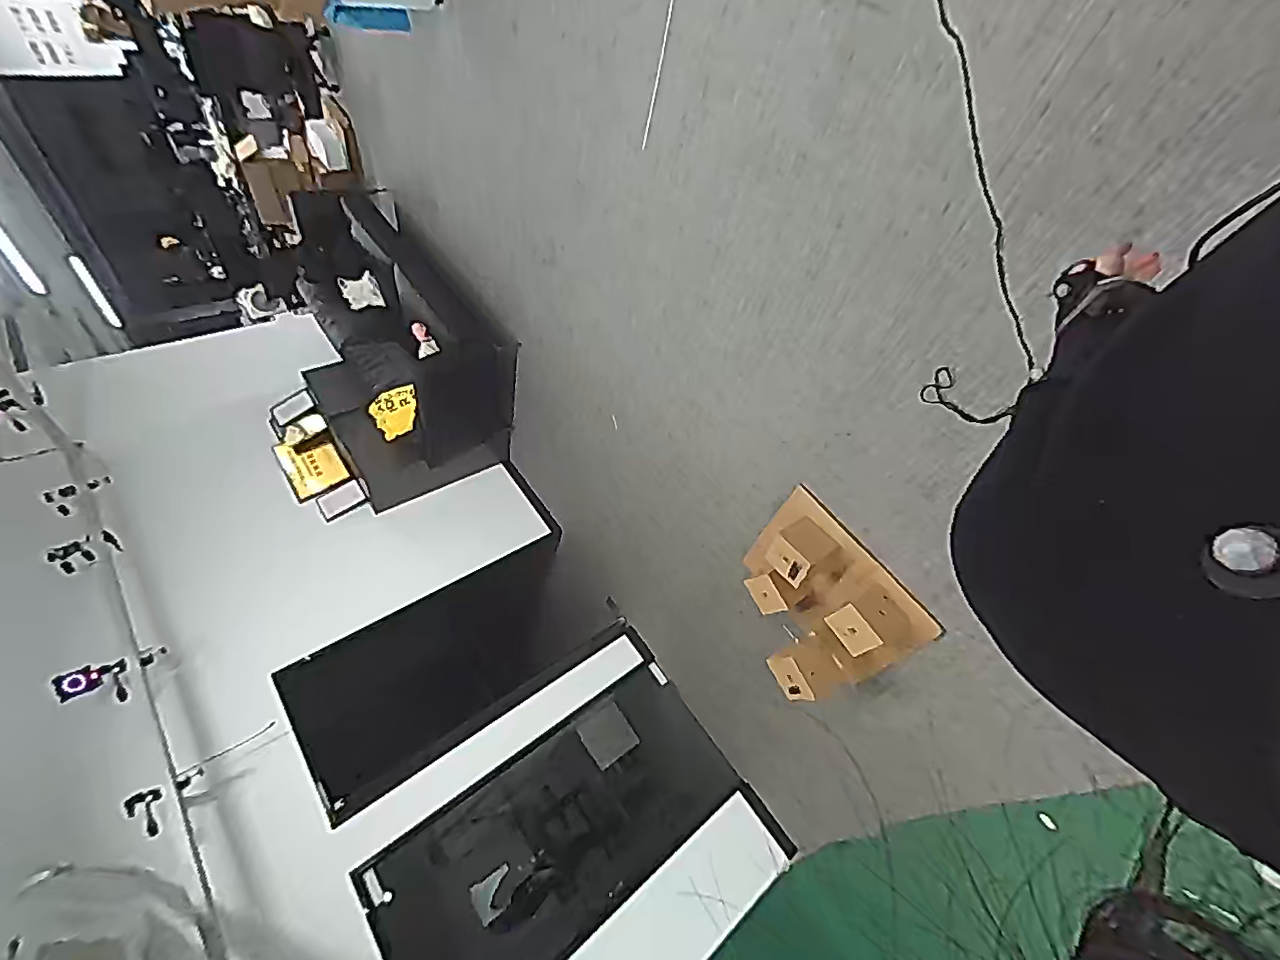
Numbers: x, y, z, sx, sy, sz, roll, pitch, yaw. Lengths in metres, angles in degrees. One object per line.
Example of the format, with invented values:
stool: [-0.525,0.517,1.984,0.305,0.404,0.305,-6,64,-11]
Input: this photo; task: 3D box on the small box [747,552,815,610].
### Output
small box: [0.590,0.420,2.253,0.168,0.176,0.179,59,150,6]

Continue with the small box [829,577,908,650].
small box: [0.825,0.477,1.941,0.168,0.176,0.179,53,149,18]

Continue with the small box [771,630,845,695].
small box: [0.645,0.695,2.063,0.179,0.176,0.168,60,150,7]

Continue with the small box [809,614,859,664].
small box: [0.771,0.632,2.148,0.168,0.176,0.179,51,148,21]
